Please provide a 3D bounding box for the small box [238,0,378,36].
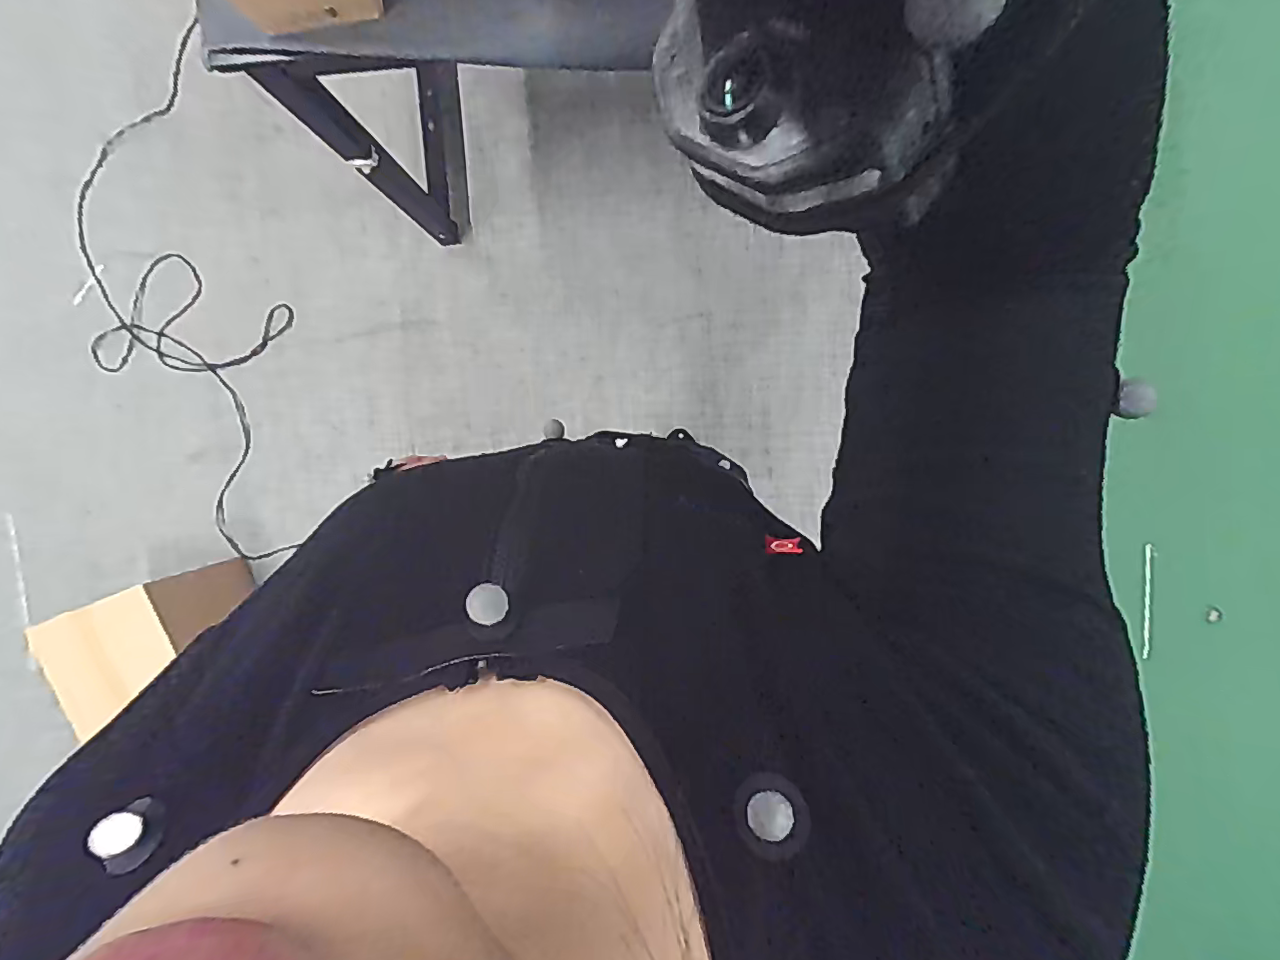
[{"bbox_3d":[-0.441,-0.689,0.643,0.168,0.176,0.179,-8,94,2],"label":"small box"}]
